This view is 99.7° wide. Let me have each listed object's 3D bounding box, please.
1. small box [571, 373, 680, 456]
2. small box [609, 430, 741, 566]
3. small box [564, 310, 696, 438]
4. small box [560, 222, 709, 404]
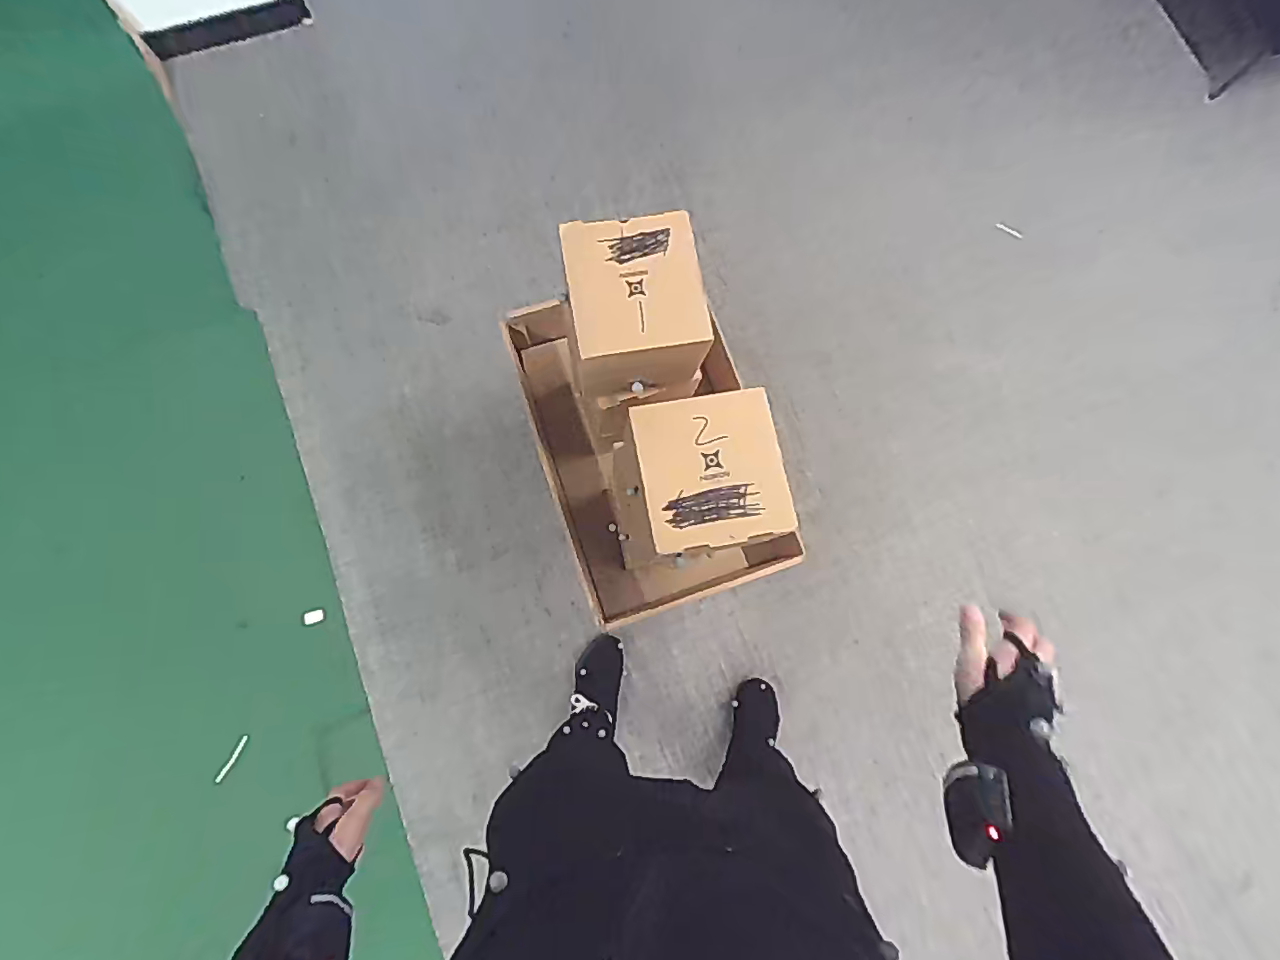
[{"bbox_3d":[-0.037,-0.164,1.064,0.168,0.176,0.179,-18,82,-7],"label":"small box"},{"bbox_3d":[0.046,0.038,0.860,0.168,0.176,0.179,-11,79,-7],"label":"small box"},{"bbox_3d":[-0.025,-0.190,0.905,0.168,0.176,0.179,-19,83,-8],"label":"small box"},{"bbox_3d":[-0.016,-0.220,0.744,0.168,0.176,0.179,-9,82,-6],"label":"small box"}]
